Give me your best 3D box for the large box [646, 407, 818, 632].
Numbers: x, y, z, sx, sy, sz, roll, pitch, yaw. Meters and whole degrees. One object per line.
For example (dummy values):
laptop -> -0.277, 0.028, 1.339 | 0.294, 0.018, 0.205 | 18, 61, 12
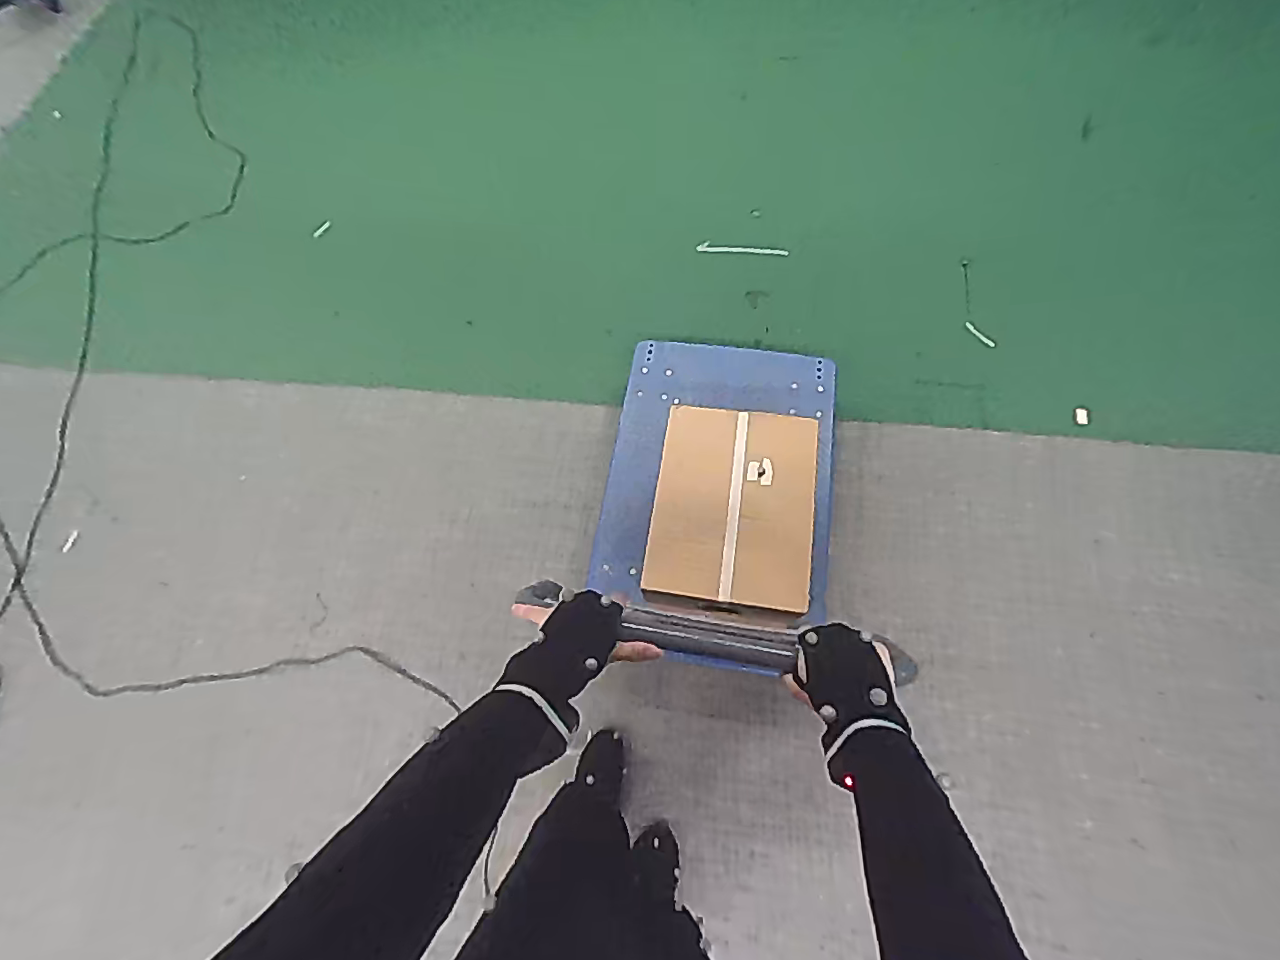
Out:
large box -> 0.202, 0.099, 1.203 | 0.320, 0.320, 0.408 | 8, 68, 7
